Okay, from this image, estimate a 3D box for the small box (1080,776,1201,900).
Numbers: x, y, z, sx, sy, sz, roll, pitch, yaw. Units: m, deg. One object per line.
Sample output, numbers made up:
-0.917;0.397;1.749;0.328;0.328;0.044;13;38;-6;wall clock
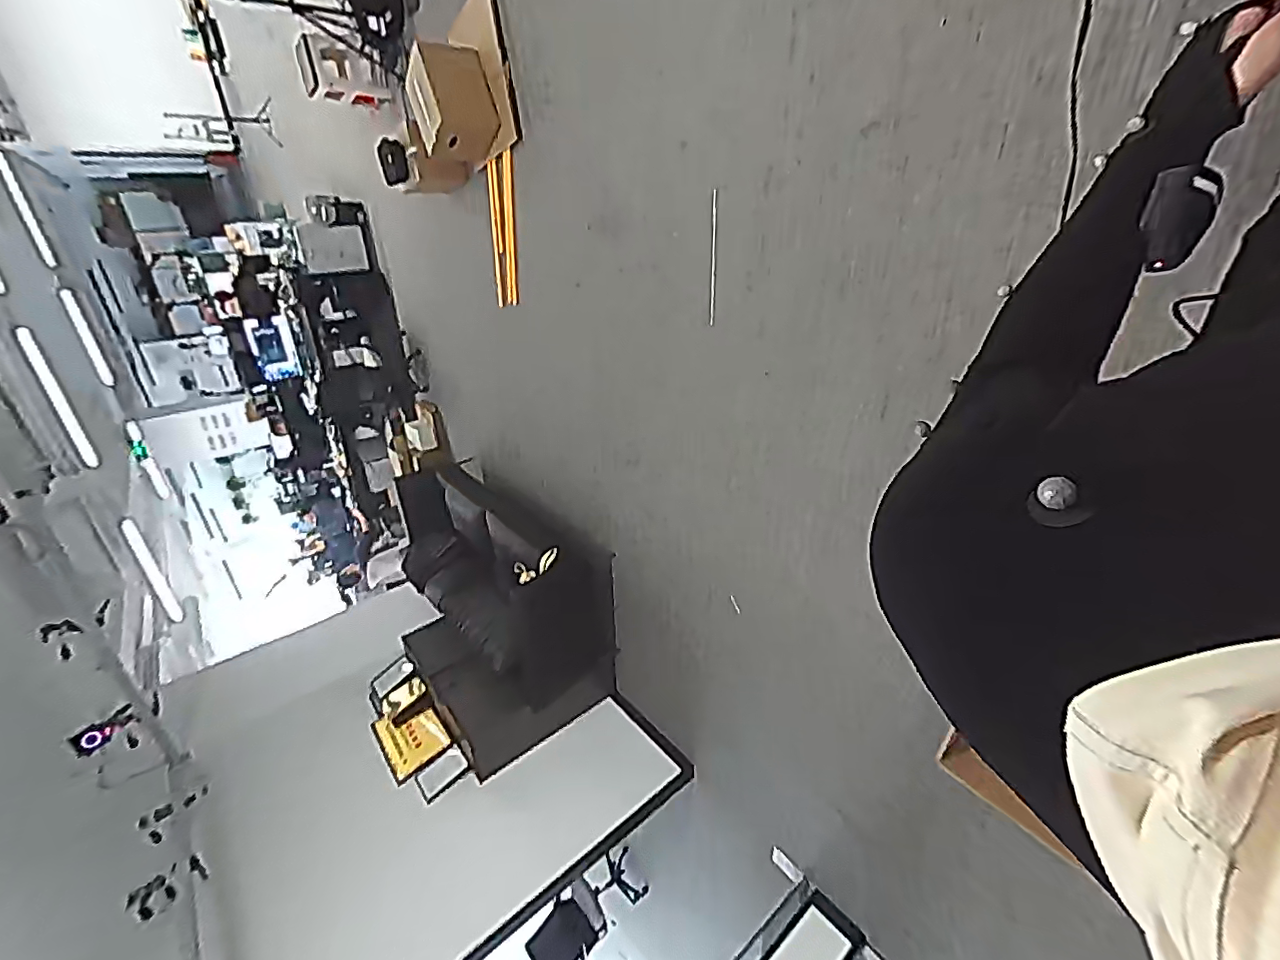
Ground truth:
1.299;0.923;1.403;0.168;0.176;0.179;33;134;41;small box
